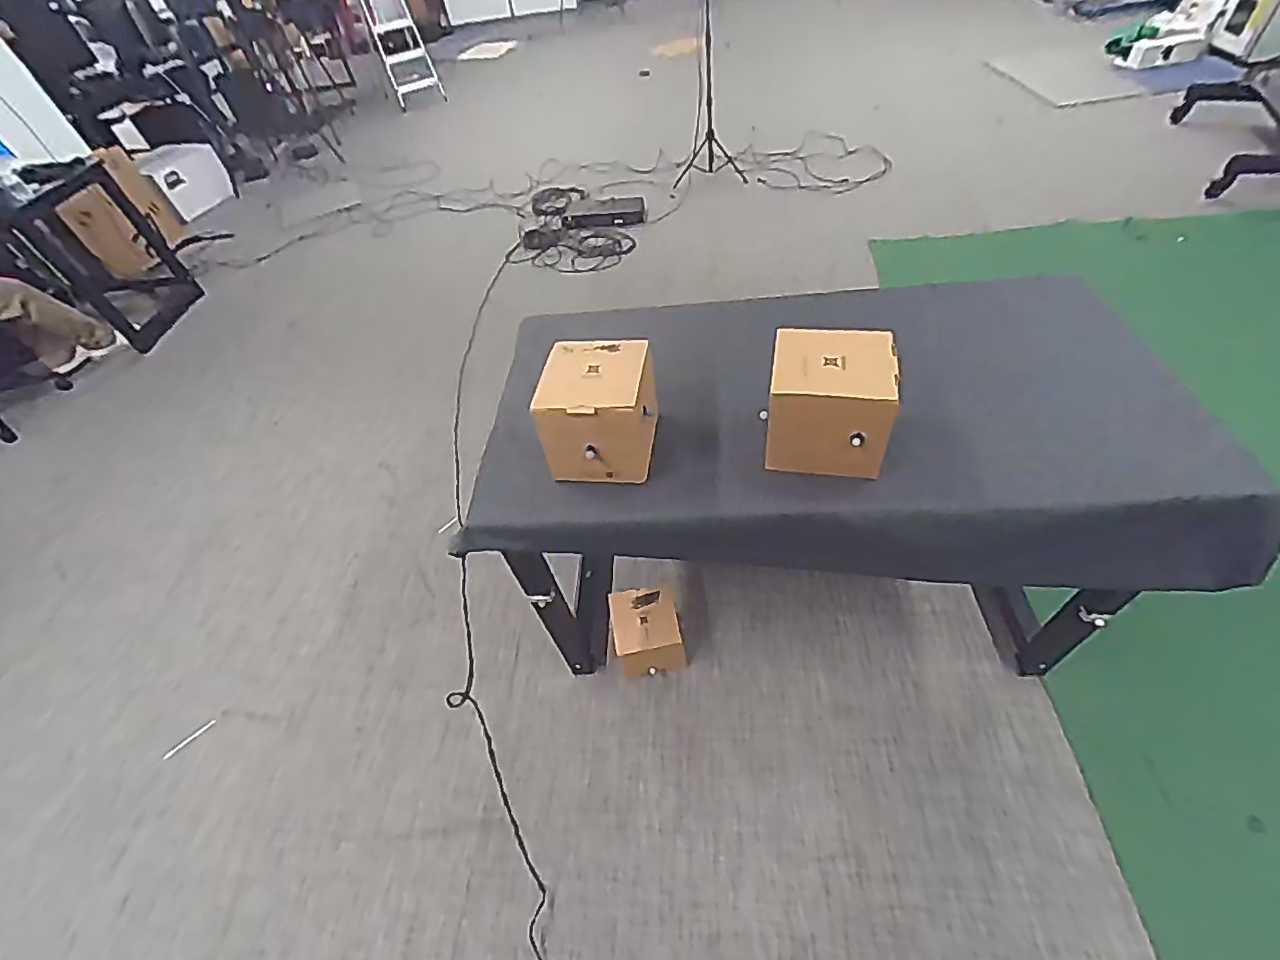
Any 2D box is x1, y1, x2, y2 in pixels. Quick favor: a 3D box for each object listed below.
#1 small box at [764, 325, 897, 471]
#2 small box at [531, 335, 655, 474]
[{"bbox_3d":[0.299,-0.130,0.875,0.179,0.176,0.168,5,50,14],"label":"small box"},{"bbox_3d":[-0.068,-0.125,0.921,0.168,0.176,0.179,2,50,9],"label":"small box"}]
